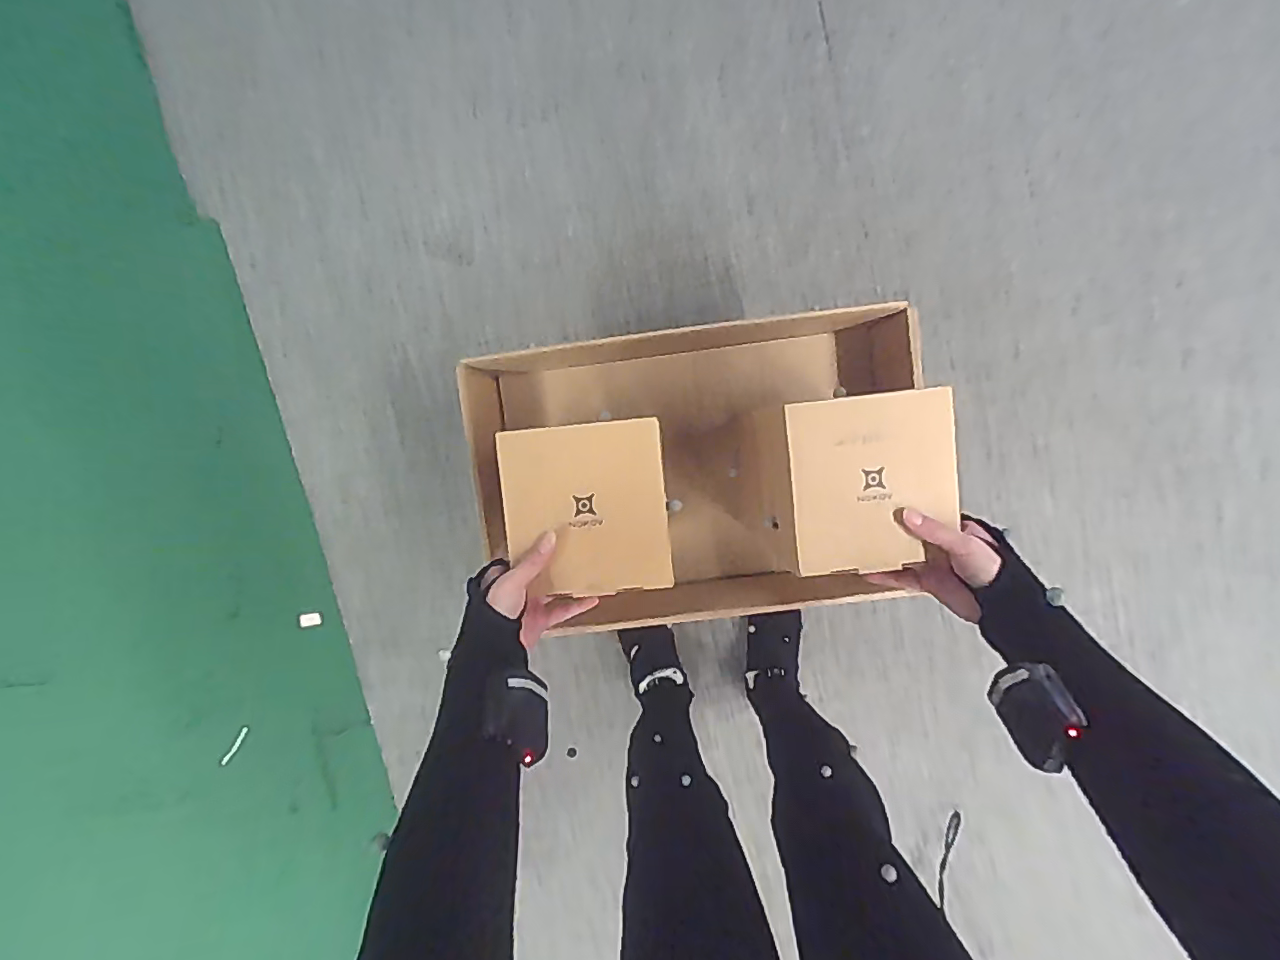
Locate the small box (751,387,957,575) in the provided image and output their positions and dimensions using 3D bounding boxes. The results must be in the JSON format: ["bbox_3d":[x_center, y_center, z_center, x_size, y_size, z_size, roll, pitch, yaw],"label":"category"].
[{"bbox_3d":[0.228,-0.004,0.612,0.168,0.176,0.179,-6,93,1],"label":"small box"}]

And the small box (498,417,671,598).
[{"bbox_3d":[-0.055,0.025,0.630,0.168,0.176,0.179,-6,94,2],"label":"small box"}]
